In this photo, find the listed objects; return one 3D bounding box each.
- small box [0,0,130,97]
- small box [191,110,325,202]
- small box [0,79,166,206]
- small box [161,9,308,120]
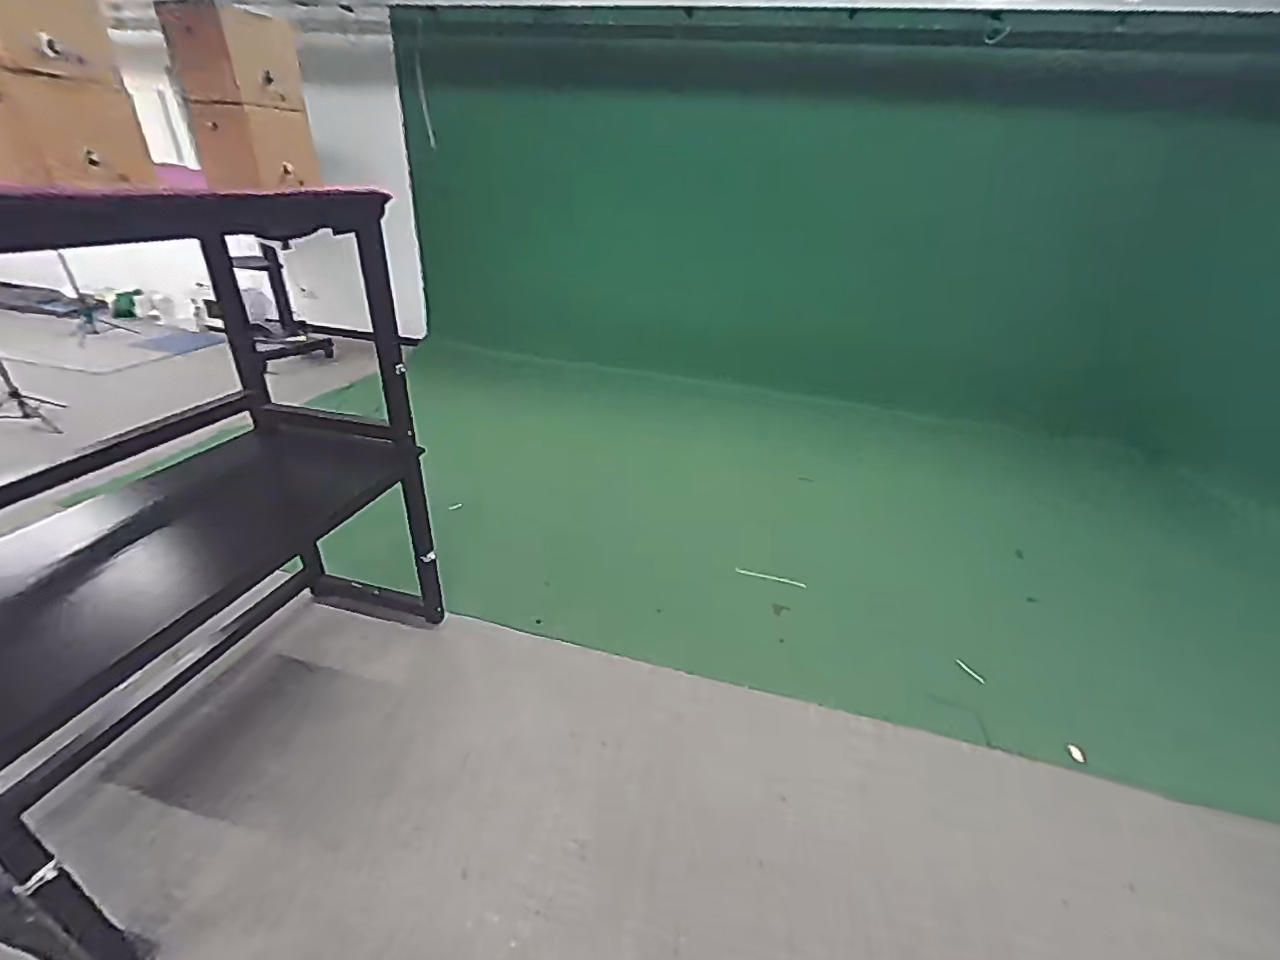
[{"bbox_3d":[-0.975,-0.709,0.846,0.179,0.176,0.168,10,31,10],"label":"small box"},{"bbox_3d":[-0.878,-0.747,1.256,0.179,0.176,0.168,13,31,15],"label":"small box"},{"bbox_3d":[-0.984,-0.570,0.929,0.179,0.176,0.168,11,30,15],"label":"small box"},{"bbox_3d":[-0.871,-0.891,1.177,0.179,0.176,0.168,12,31,15],"label":"small box"}]
